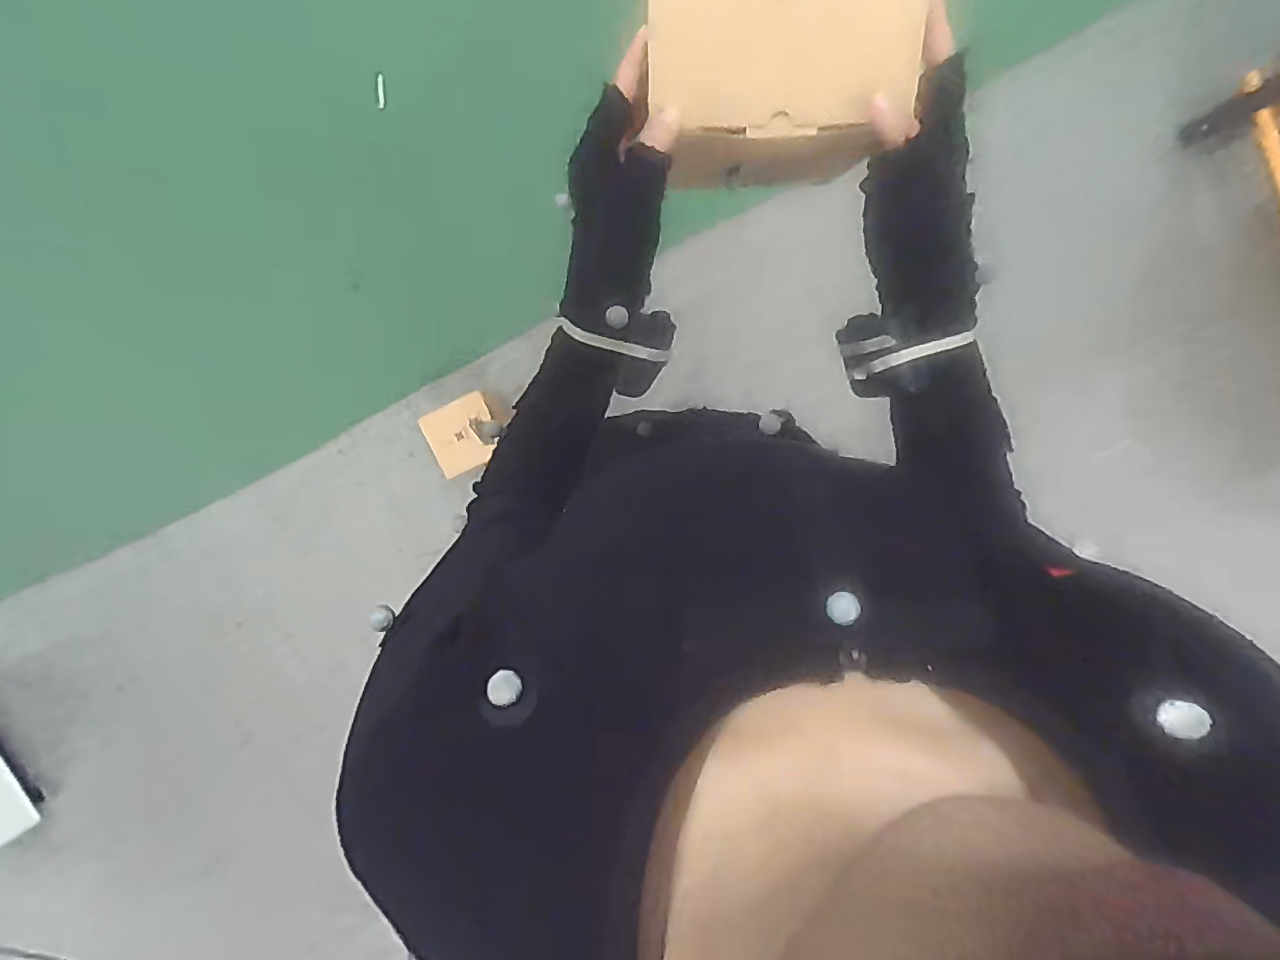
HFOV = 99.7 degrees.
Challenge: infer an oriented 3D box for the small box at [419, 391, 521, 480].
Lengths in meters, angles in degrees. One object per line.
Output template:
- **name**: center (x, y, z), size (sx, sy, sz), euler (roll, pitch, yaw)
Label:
- **small box**: center (-0.424, -0.119, 1.392), size (0.179, 0.176, 0.168), euler (-26, 96, 5)
